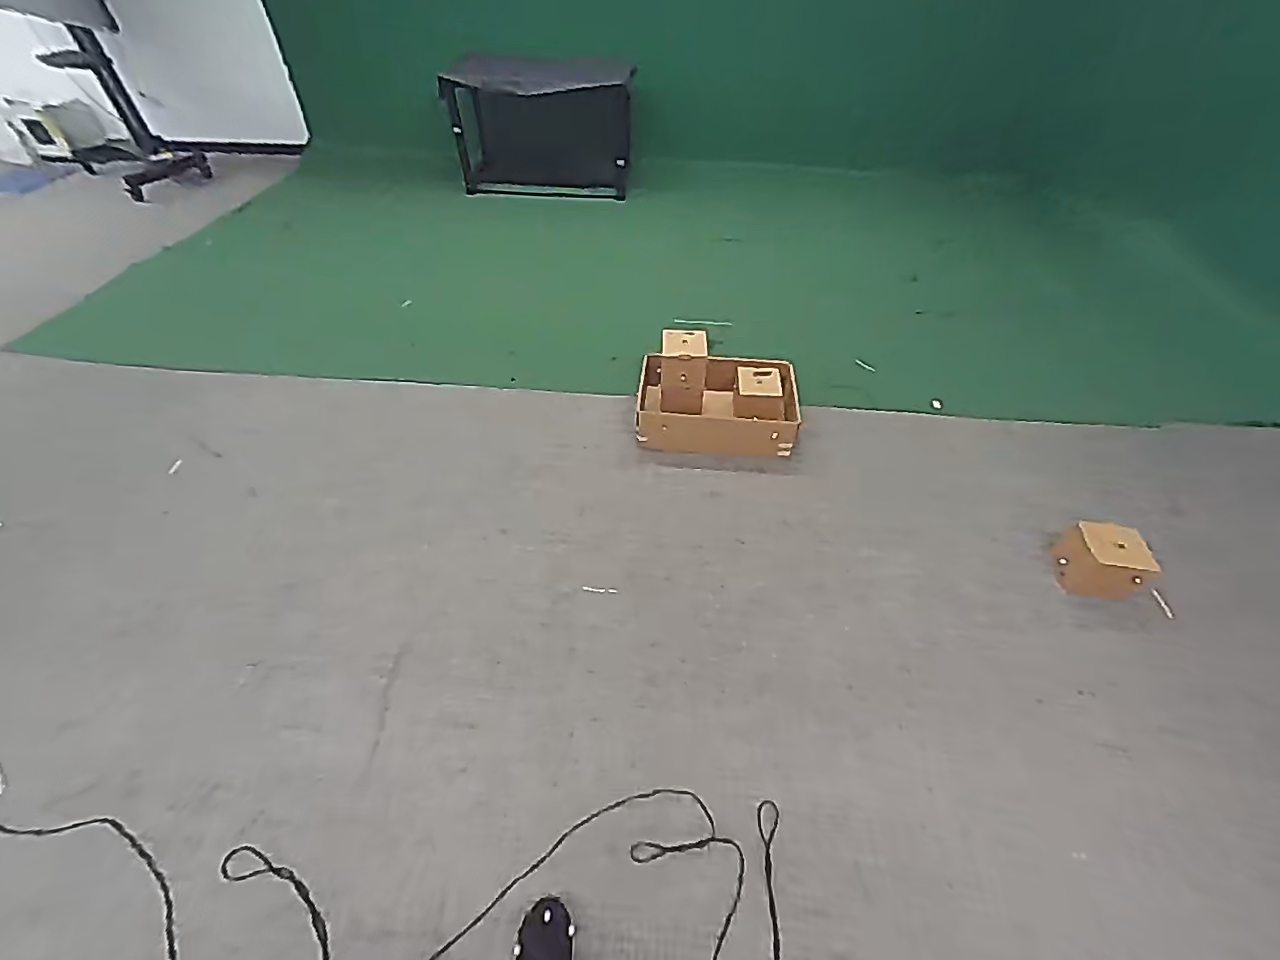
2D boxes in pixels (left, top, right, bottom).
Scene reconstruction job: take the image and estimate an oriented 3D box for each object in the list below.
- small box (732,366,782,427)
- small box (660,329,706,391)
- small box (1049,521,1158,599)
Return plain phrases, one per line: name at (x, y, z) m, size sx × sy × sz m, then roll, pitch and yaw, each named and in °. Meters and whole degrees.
small box at (0.463, -0.335, 2.169) m, size 0.168 × 0.176 × 0.179 m, roll 2°, pitch 49°, yaw 3°
small box at (0.161, -0.453, 2.053) m, size 0.168 × 0.176 × 0.179 m, roll 2°, pitch 48°, yaw 1°
small box at (1.443, 0.255, 1.696) m, size 0.179 × 0.176 × 0.168 m, roll 8°, pitch 46°, yaw 7°
